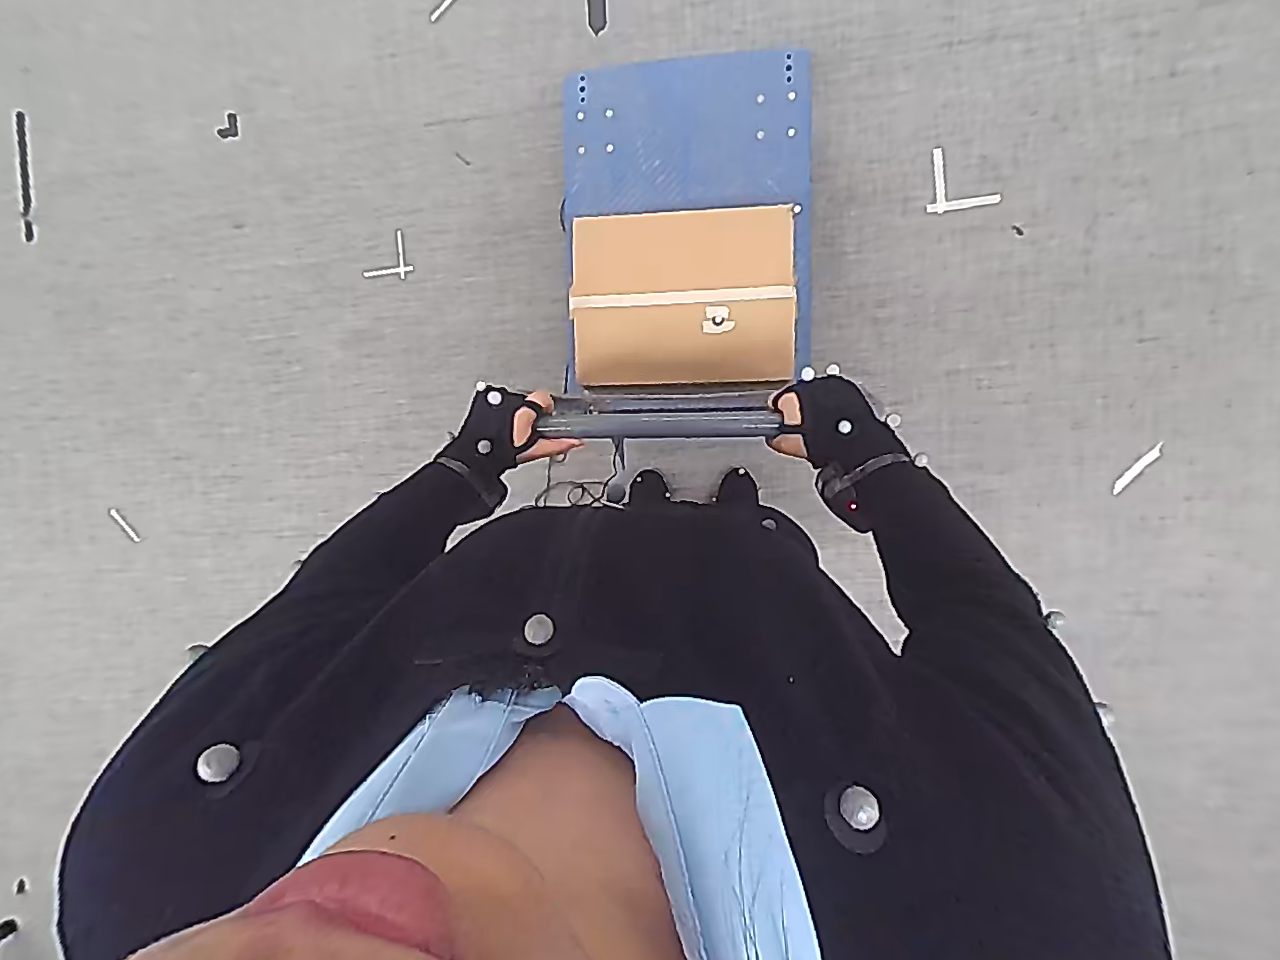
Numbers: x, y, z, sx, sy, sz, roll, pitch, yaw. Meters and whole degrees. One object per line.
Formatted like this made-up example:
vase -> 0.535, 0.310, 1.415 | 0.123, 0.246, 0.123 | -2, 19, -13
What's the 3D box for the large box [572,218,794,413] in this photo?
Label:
large box -> 0.088, -0.314, 1.131 | 0.408, 0.320, 0.320 | -1, 93, 5
